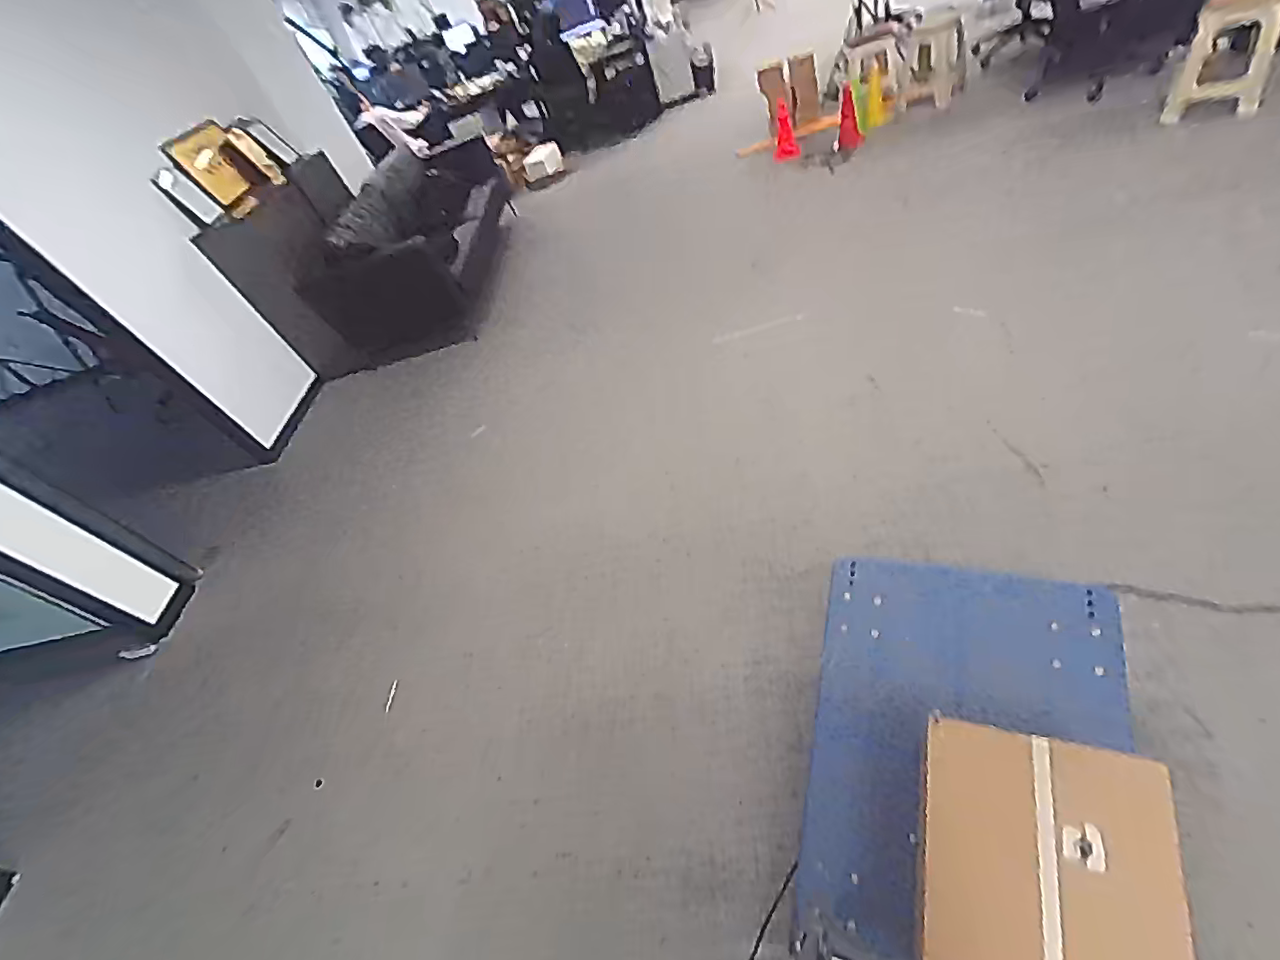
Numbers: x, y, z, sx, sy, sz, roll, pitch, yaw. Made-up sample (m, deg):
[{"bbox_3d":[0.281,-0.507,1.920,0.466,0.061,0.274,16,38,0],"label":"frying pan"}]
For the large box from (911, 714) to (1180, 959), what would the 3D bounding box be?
[{"bbox_3d":[0.630,0.655,0.904,0.320,0.320,0.408,3,63,26],"label":"large box"}]
